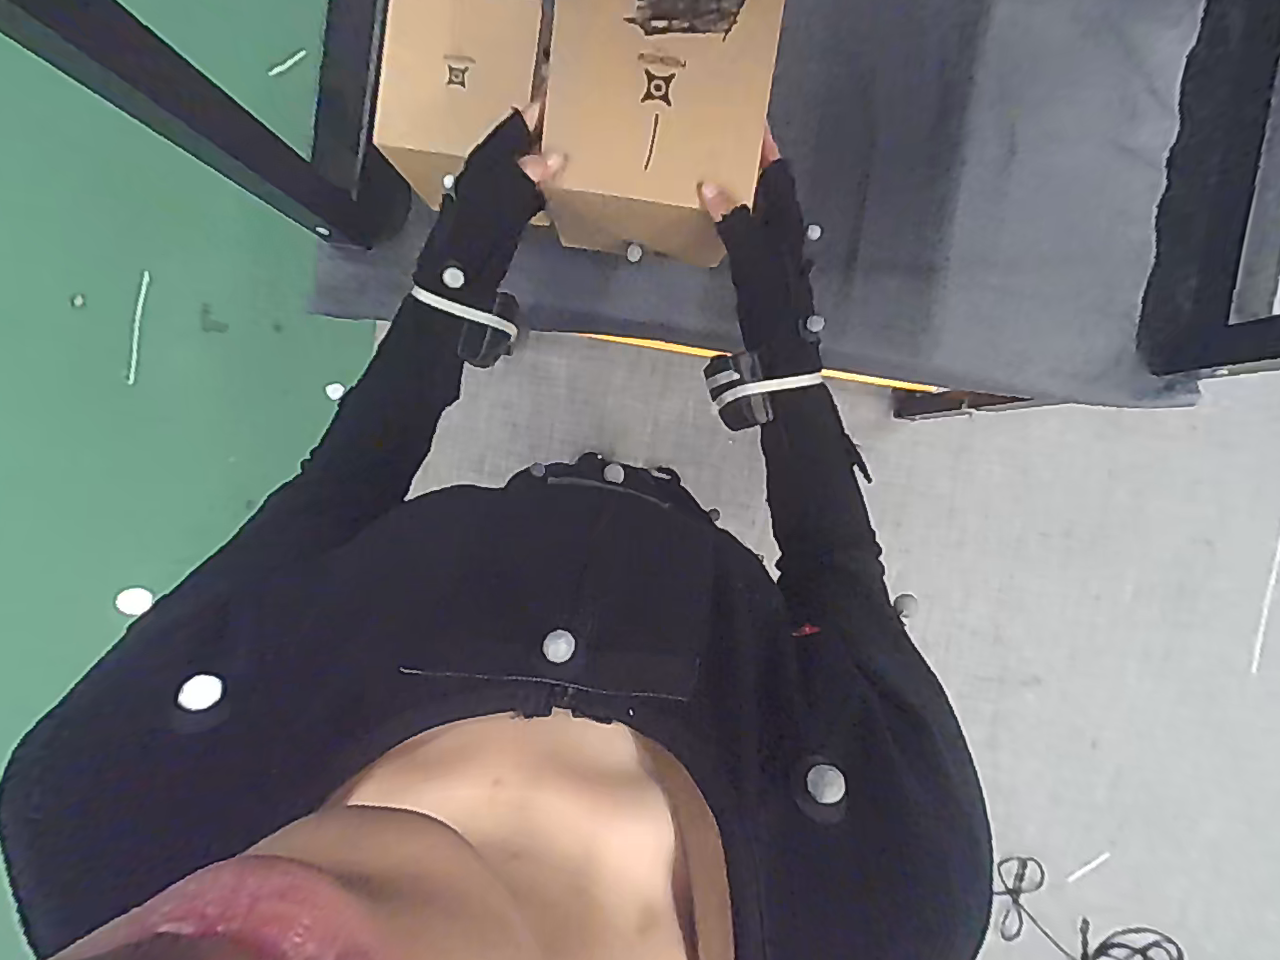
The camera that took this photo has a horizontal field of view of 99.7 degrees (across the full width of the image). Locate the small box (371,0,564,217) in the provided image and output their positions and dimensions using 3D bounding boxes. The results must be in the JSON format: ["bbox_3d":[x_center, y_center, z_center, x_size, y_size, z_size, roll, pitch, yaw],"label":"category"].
[{"bbox_3d":[-0.192,-0.442,0.647,0.168,0.176,0.179,8,93,0],"label":"small box"}]
